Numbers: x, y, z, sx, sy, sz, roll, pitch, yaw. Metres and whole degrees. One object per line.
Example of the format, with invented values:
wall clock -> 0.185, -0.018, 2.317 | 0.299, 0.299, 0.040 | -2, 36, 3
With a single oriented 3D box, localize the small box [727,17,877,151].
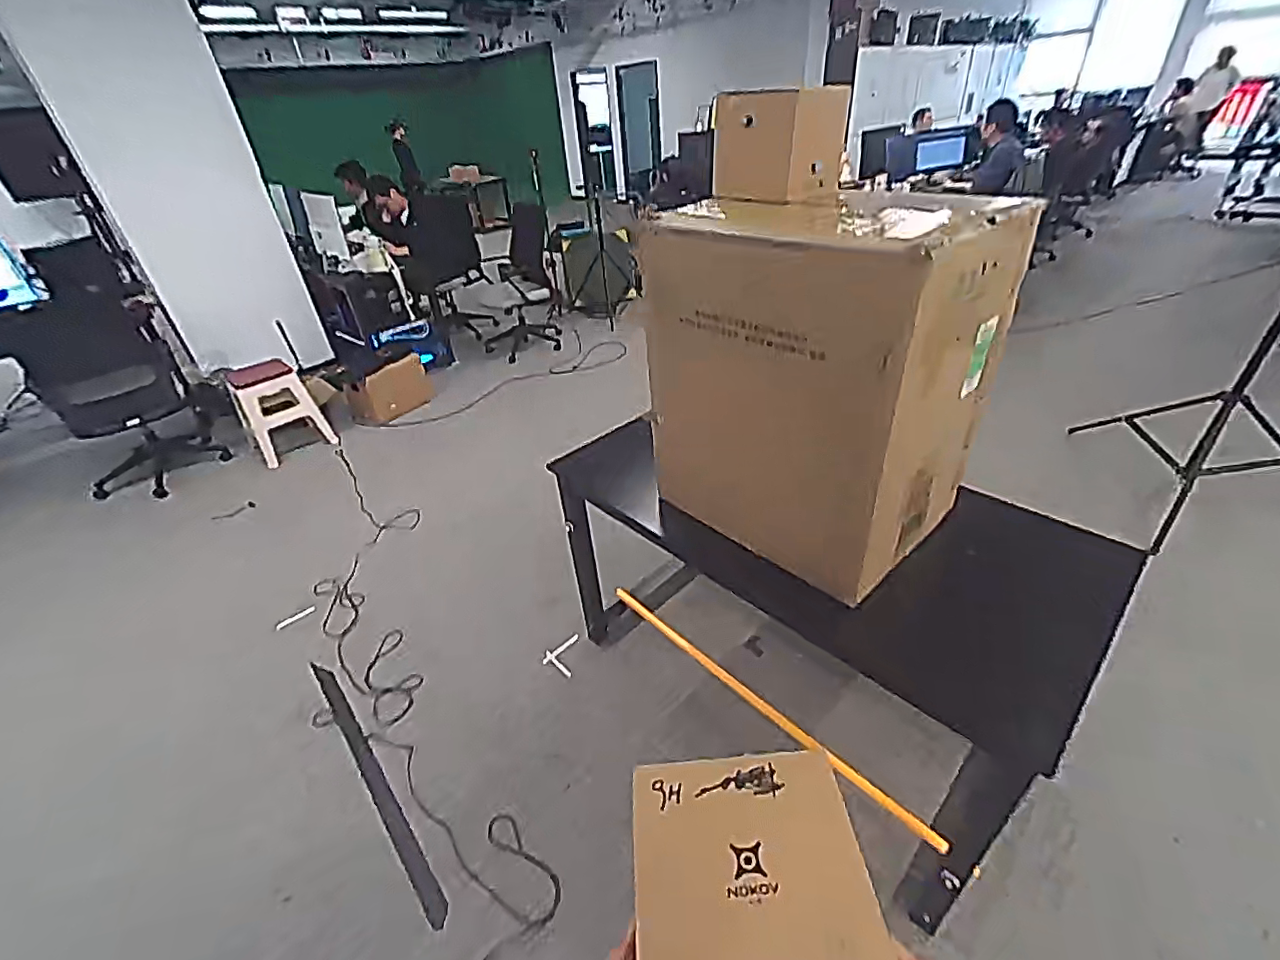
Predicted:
small box -> 0.264, -0.660, 0.918 | 0.168, 0.176, 0.179 | -29, 43, -33
